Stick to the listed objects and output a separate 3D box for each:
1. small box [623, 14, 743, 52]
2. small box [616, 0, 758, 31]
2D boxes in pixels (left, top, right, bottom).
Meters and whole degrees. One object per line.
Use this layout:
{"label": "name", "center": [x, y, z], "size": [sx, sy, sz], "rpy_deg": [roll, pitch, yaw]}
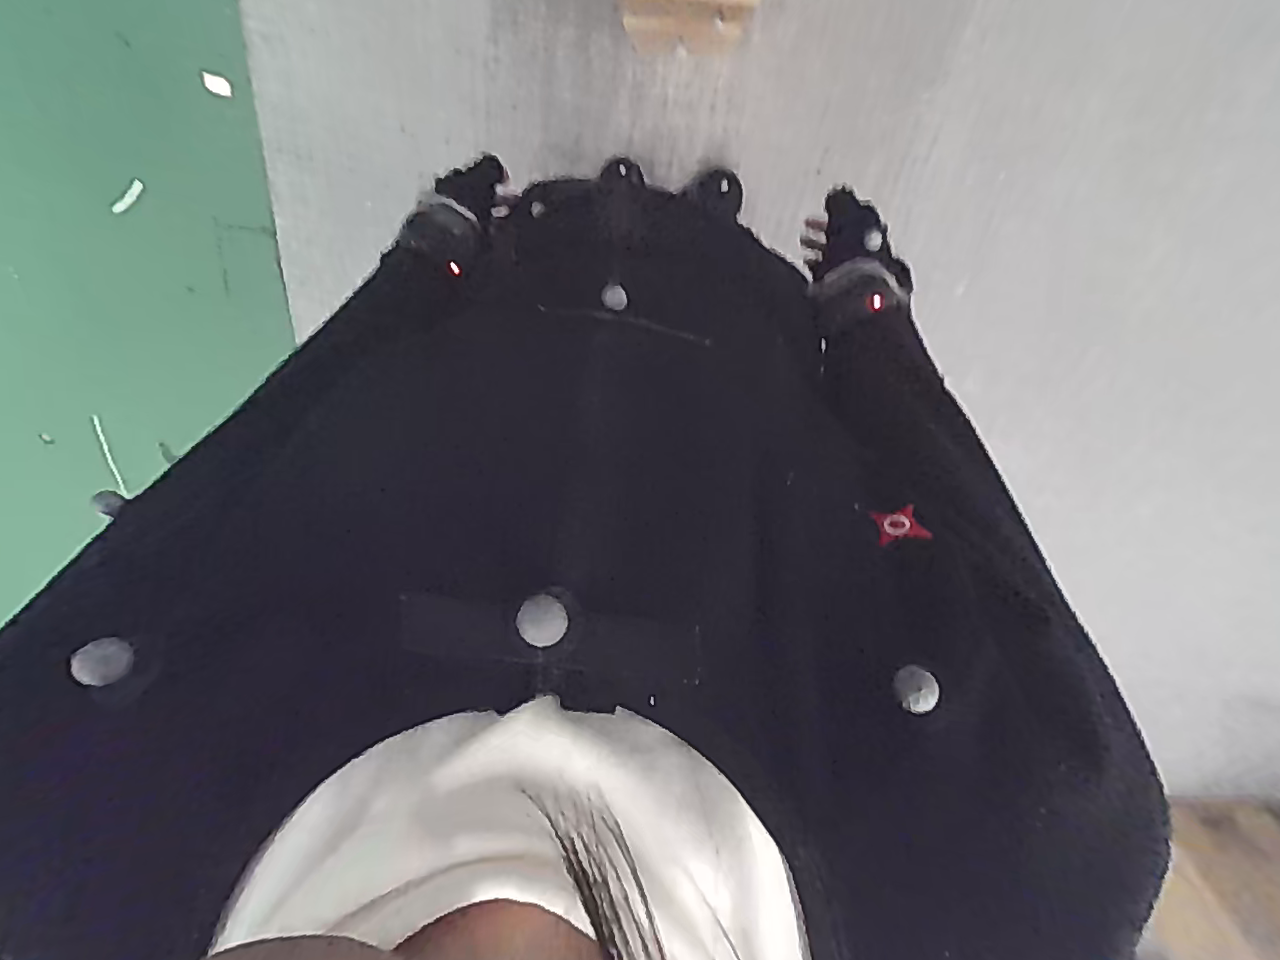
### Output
{"label": "small box", "center": [0.071, -0.767, 0.818], "size": [0.179, 0.176, 0.168], "rpy_deg": [5, 122, 1]}
{"label": "small box", "center": [0.065, -0.686, 0.677], "size": [0.179, 0.176, 0.168], "rpy_deg": [5, 121, 2]}
